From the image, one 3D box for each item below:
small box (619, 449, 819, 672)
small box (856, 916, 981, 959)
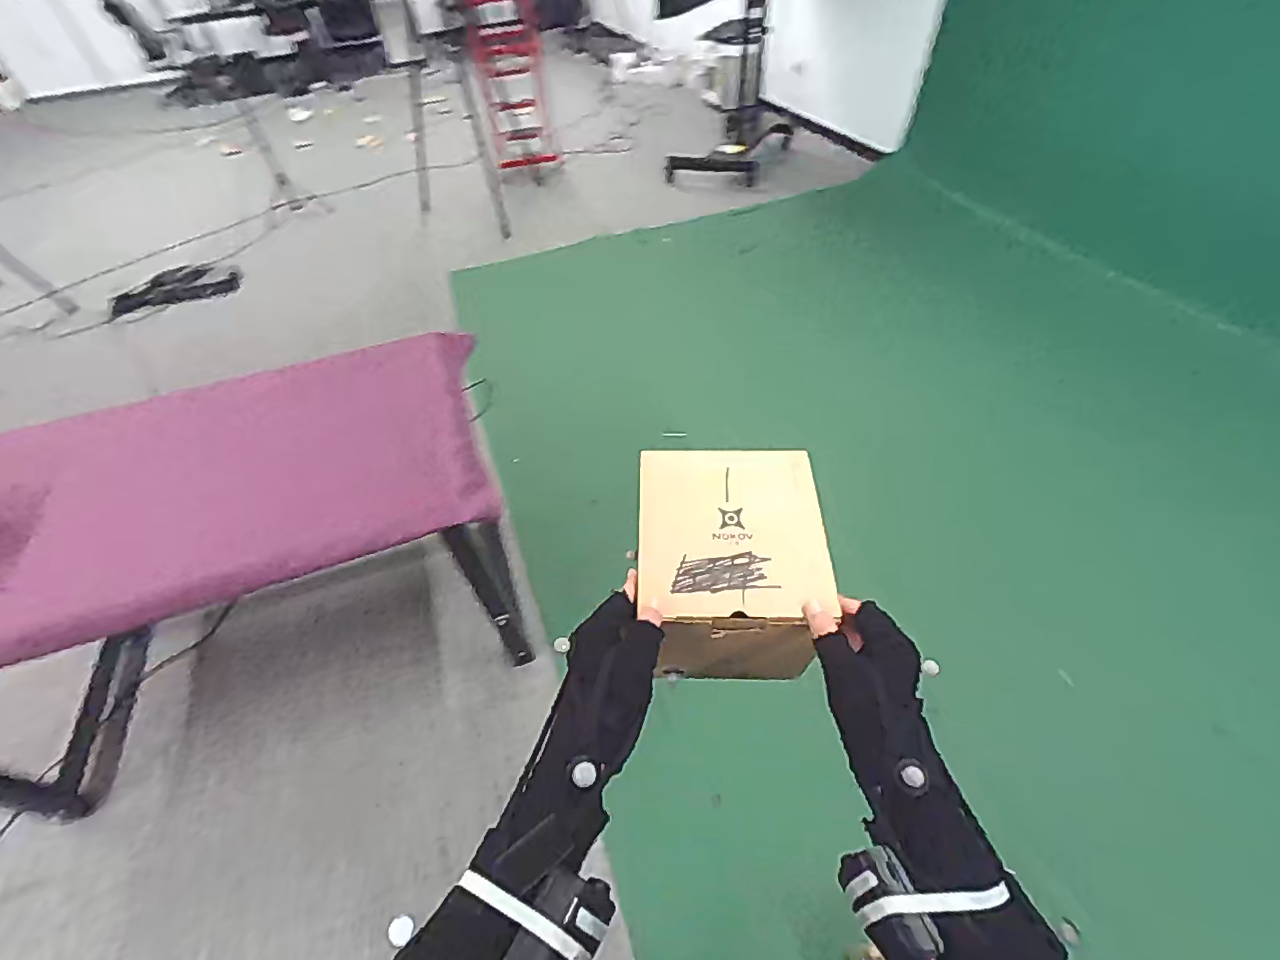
[{"bbox_3d":[0.068,0.087,0.550,0.168,0.176,0.179,0,53,1],"label":"small box"},{"bbox_3d":[0.528,0.931,0.990,0.179,0.176,0.168,-16,49,-9],"label":"small box"}]
